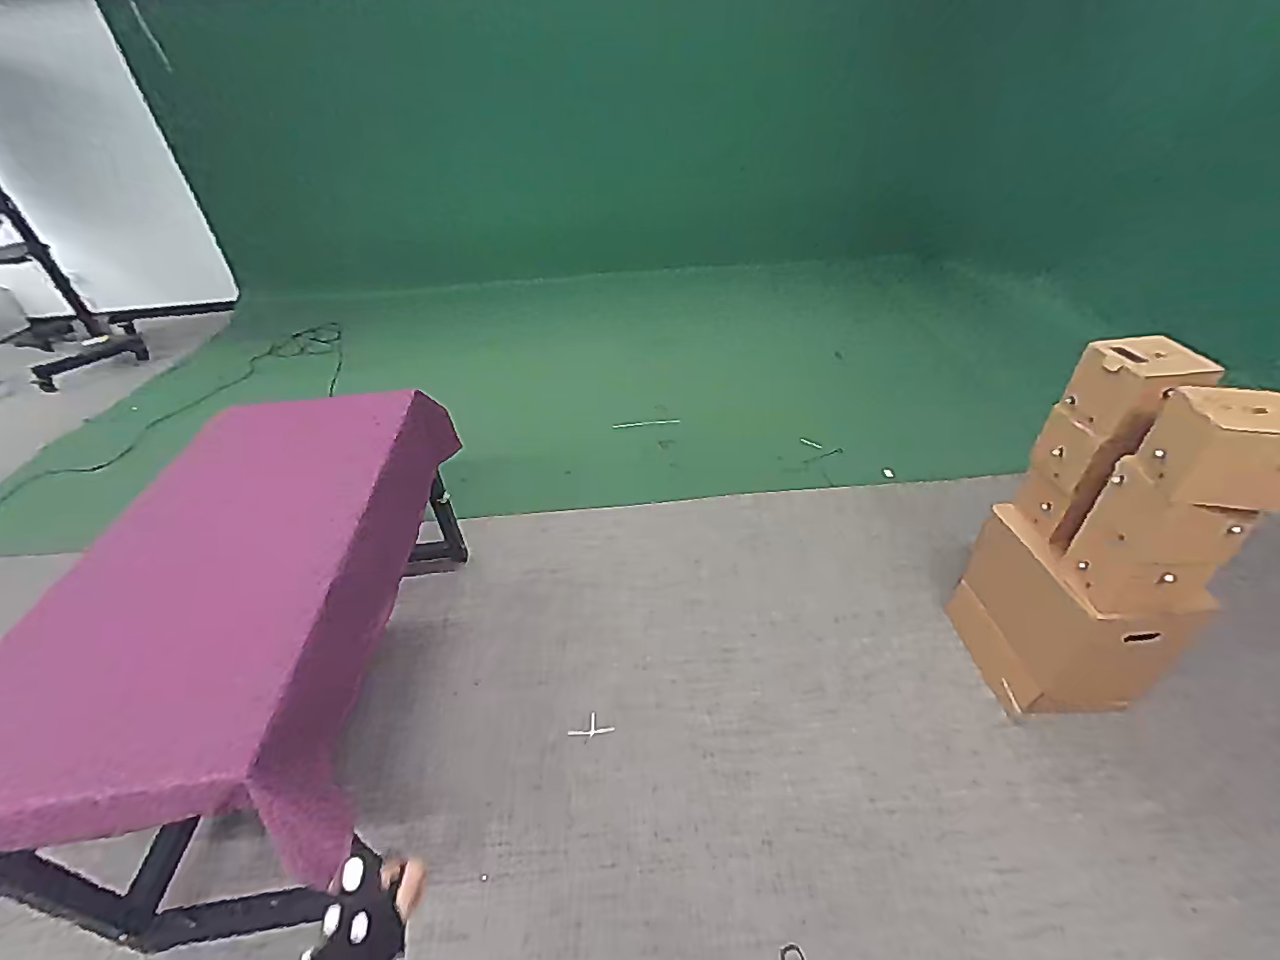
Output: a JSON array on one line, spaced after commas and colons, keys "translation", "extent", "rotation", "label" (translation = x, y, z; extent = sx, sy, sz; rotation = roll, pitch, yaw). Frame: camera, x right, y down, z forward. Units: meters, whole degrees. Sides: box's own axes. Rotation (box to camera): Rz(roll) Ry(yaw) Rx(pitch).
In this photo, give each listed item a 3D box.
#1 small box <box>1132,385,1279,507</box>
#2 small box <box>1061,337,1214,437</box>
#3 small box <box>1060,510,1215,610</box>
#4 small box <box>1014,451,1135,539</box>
[{"translation": [1.118, -0.066, 1.041], "extent": [0.179, 0.176, 0.168], "rotation": [6, 38, 14], "label": "small box"}, {"translation": [1.113, -0.210, 1.236], "extent": [0.179, 0.176, 0.168], "rotation": [-5, 40, -1], "label": "small box"}, {"translation": [1.137, 0.186, 1.254], "extent": [0.179, 0.176, 0.168], "rotation": [-2, 37, 5], "label": "small box"}, {"translation": [1.140, 0.044, 1.442], "extent": [0.179, 0.176, 0.168], "rotation": [-5, 39, 1], "label": "small box"}]
